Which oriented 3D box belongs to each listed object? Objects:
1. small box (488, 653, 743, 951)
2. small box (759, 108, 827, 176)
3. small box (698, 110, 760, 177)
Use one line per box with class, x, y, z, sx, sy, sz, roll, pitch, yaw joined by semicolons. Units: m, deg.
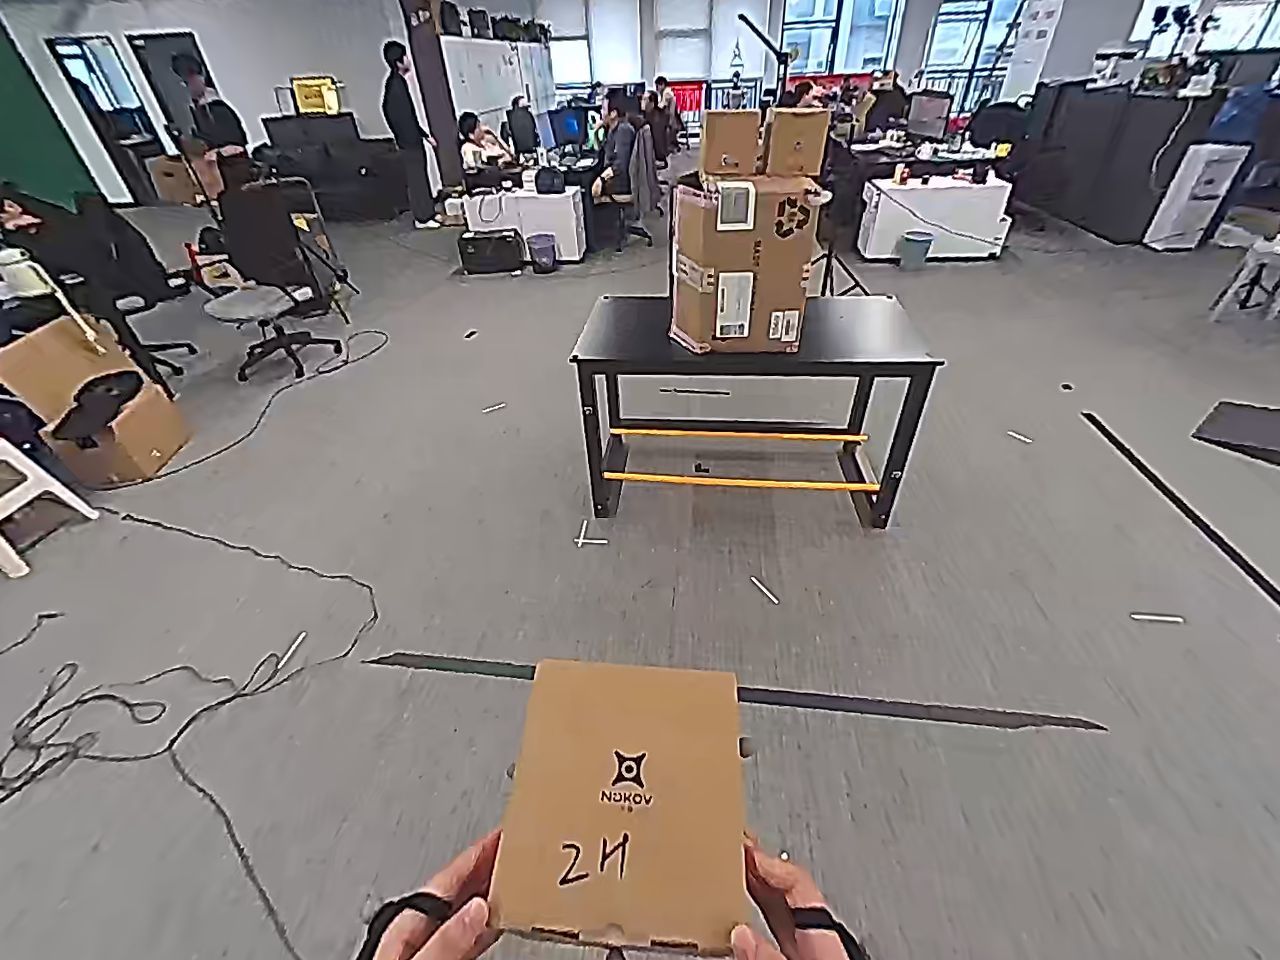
small box;-0.010;0.268;0.452;0.168;0.176;0.179;3;48;4
small box;0.473;-1.060;1.695;0.168;0.176;0.179;2;38;2
small box;0.275;-1.072;1.719;0.168;0.176;0.179;-2;36;0
